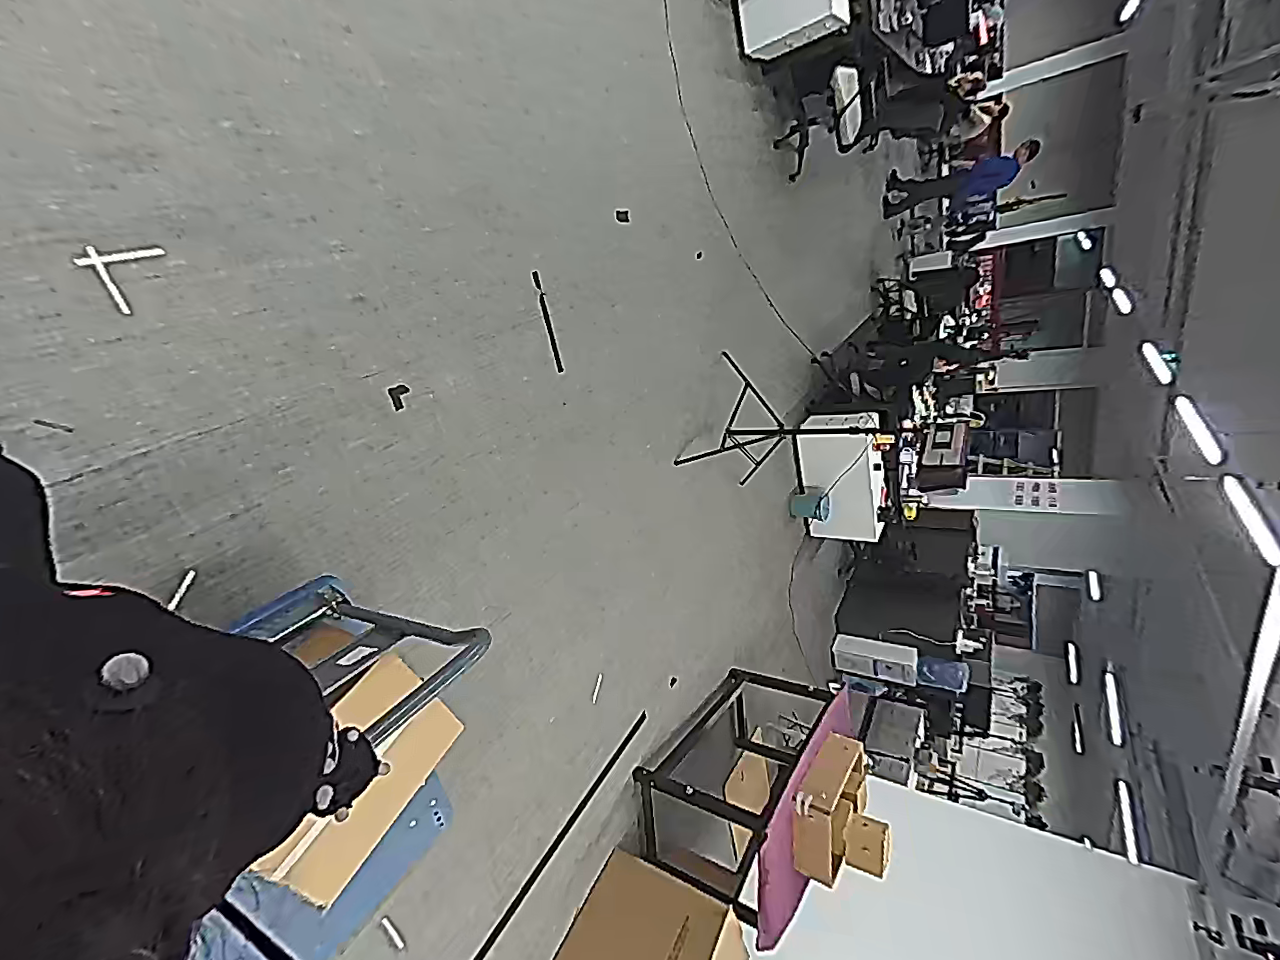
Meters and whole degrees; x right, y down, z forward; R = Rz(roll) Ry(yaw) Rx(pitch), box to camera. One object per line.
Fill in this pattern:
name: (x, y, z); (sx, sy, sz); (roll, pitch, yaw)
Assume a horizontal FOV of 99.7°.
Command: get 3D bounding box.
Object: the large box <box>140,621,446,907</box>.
large box: (-0.722, 0.580, 1.175); (0.408, 0.320, 0.320); (-52, 131, -39)
